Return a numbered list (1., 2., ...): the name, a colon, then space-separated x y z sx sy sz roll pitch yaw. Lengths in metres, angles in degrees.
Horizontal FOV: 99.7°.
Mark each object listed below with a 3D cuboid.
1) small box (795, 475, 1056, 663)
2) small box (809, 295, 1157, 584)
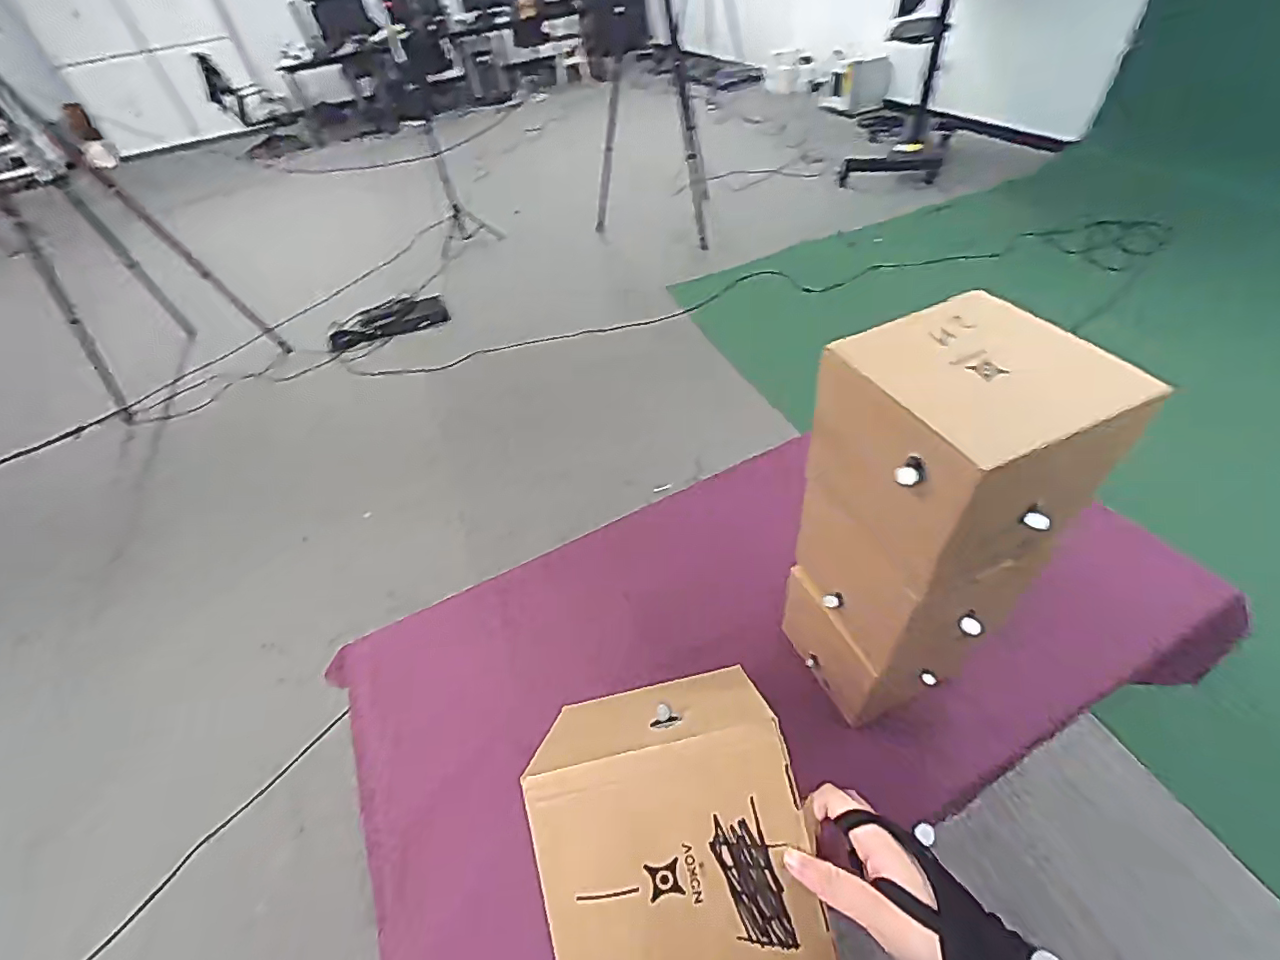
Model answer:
1. small box: 0.293 0.080 0.603 0.168 0.176 0.179 -20 48 -9
2. small box: 0.272 -0.031 0.482 0.168 0.176 0.179 -21 47 -10
